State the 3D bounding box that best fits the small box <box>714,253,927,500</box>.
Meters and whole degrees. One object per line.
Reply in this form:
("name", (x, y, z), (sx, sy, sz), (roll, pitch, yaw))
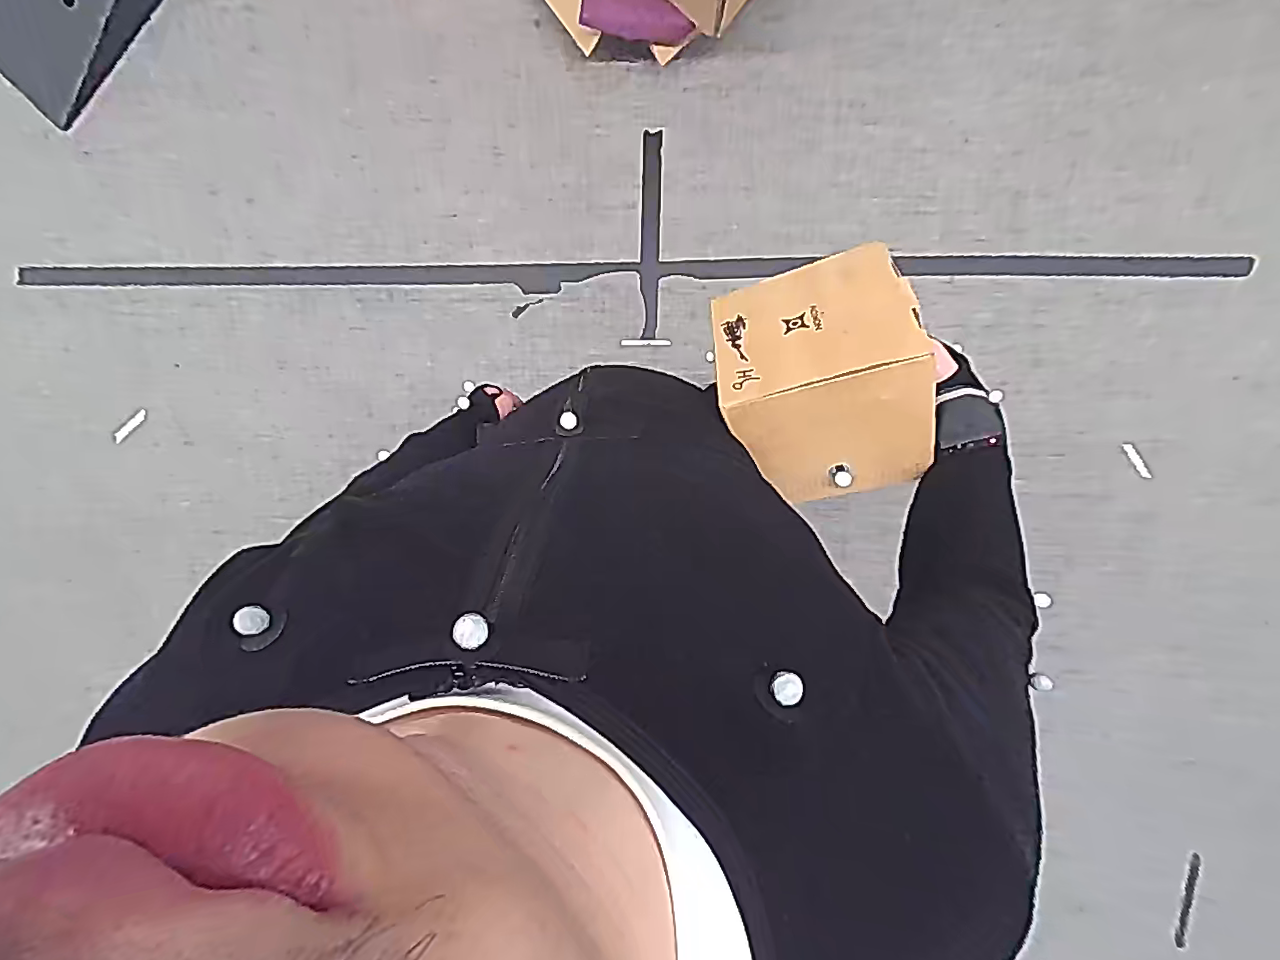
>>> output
("small box", (0.187, -0.100, 0.576), (0.179, 0.168, 0.176), (-13, 139, 18))
